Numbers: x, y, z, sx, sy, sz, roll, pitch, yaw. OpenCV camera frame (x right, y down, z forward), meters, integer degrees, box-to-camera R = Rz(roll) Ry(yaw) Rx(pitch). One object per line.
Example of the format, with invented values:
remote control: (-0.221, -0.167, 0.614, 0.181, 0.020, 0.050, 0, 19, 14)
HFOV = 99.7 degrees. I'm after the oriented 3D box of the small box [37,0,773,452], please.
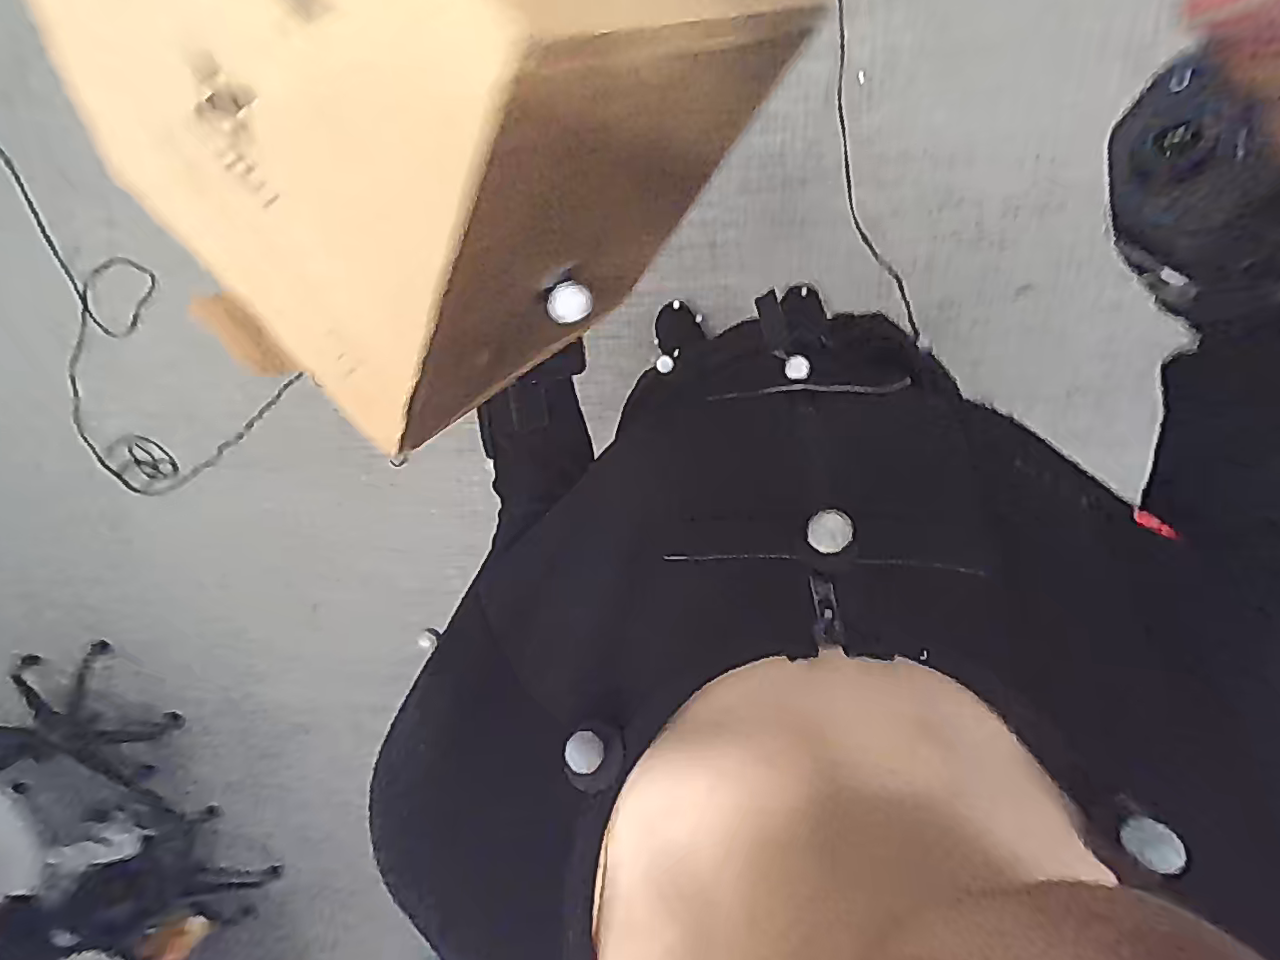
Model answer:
small box: (-0.079, -0.147, 0.212, 0.168, 0.176, 0.179, 46, 142, -4)
